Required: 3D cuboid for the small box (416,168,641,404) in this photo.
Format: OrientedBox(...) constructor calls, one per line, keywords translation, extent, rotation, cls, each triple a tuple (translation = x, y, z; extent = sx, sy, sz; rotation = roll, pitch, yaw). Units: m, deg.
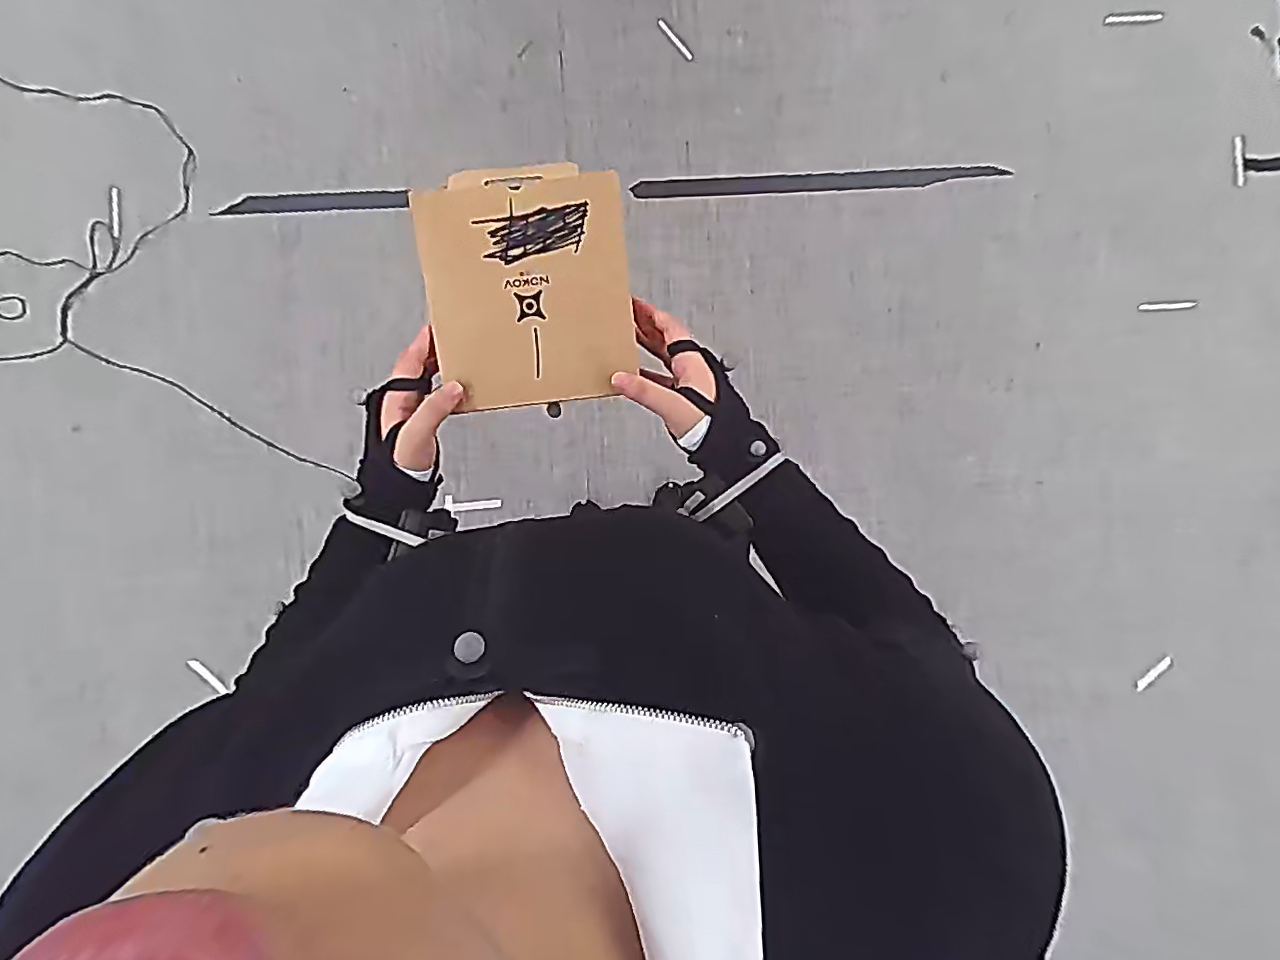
OrientedBox(translation=(-0.092, -0.168, 0.518), extent=(0.168, 0.176, 0.179), rotation=(-6, 100, -1), cls="small box")
